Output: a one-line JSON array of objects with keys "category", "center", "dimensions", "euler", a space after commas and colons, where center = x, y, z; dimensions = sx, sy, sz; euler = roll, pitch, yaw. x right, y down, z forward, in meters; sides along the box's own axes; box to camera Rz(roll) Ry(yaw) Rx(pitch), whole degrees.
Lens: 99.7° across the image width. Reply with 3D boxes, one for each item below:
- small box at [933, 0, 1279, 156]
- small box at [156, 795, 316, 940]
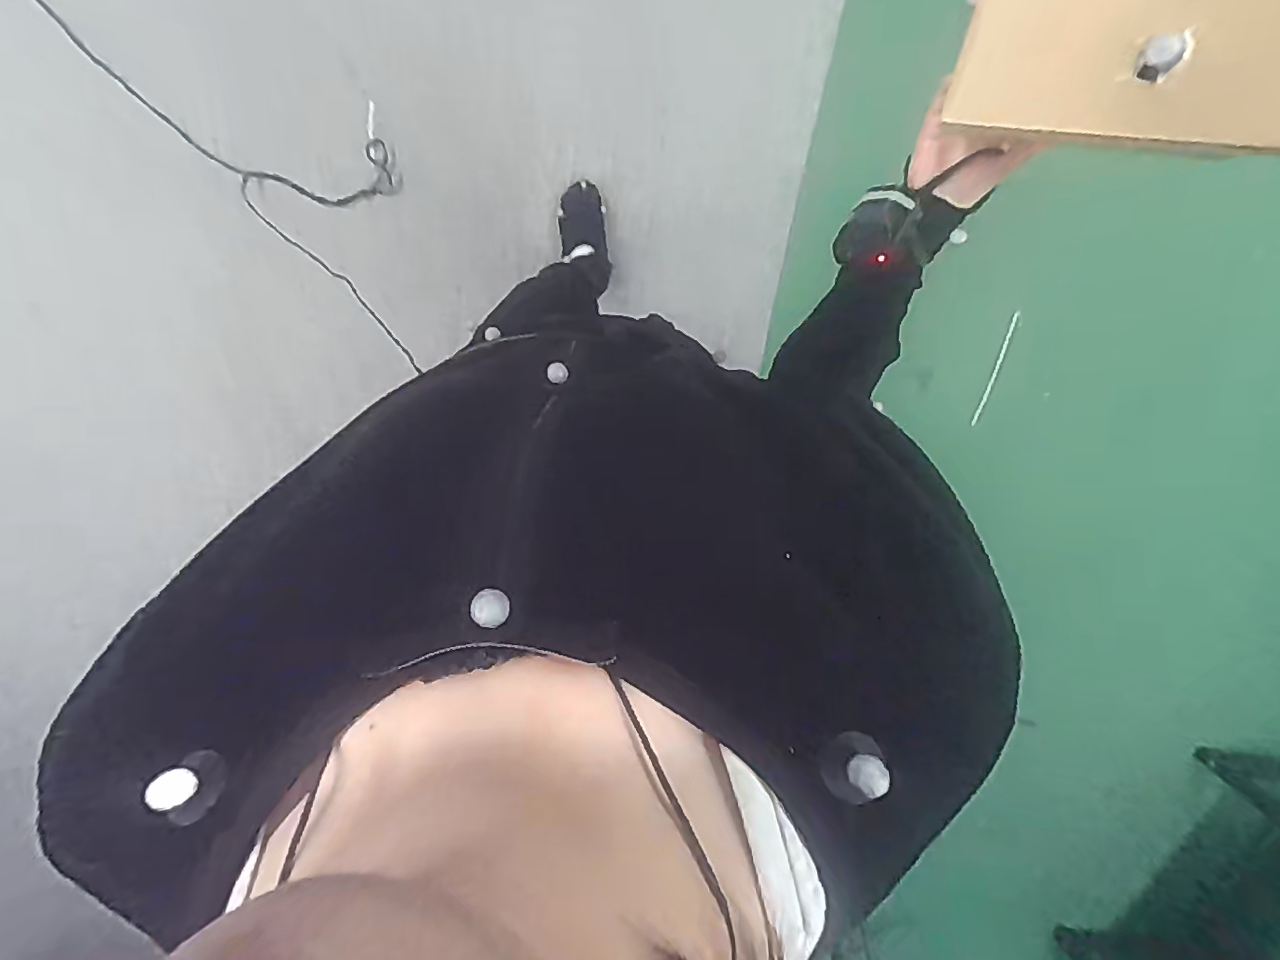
[{"category": "small box", "center": [0.300, -0.298, 0.314], "dimensions": [0.179, 0.168, 0.176], "euler": [21, 125, 25]}, {"category": "small box", "center": [-0.774, 0.750, 1.057], "dimensions": [0.179, 0.176, 0.168], "euler": [0, 112, -6]}]
